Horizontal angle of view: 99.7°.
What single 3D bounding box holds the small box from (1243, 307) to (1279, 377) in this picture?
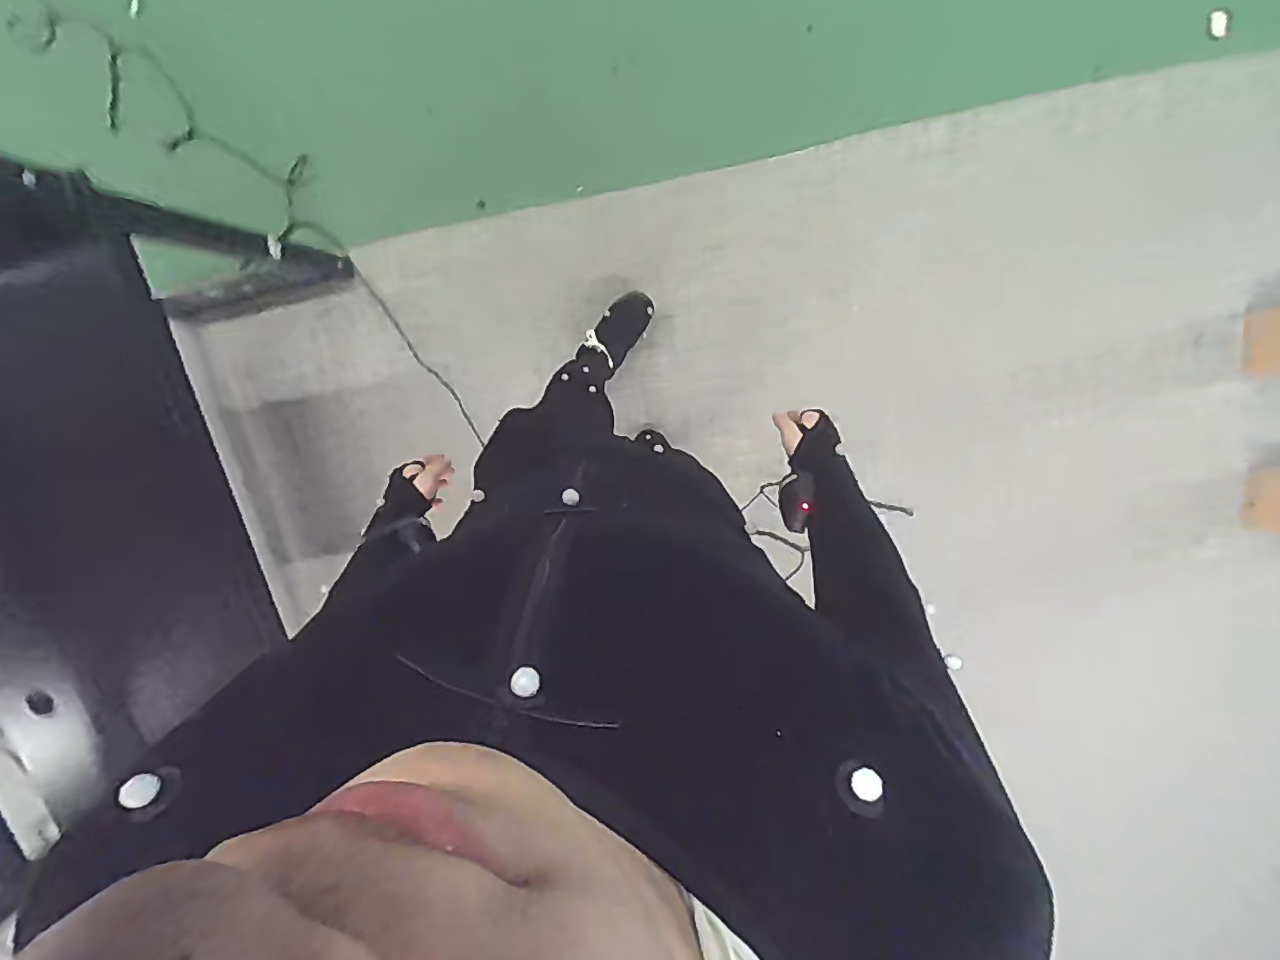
[{"bbox_3d":[1.710,-0.361,1.378,0.168,0.176,0.179,-11,103,5],"label":"small box"}]
